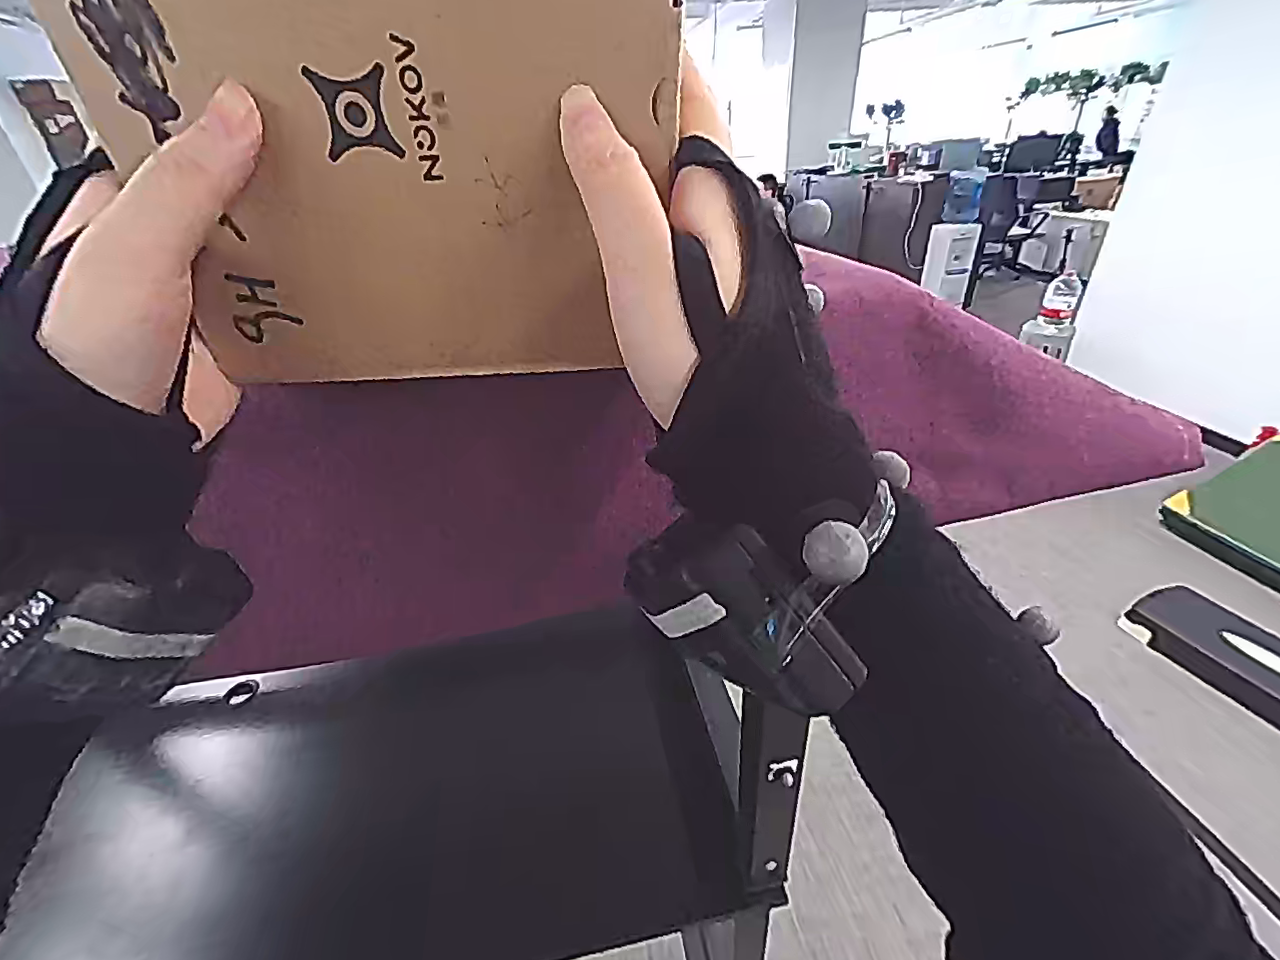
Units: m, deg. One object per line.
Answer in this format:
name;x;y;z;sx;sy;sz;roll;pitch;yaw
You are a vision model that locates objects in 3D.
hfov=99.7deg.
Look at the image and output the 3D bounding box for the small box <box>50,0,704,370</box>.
small box;-0.073;-0.157;0.224;0.179;0.168;0.176;-2;35;-1
